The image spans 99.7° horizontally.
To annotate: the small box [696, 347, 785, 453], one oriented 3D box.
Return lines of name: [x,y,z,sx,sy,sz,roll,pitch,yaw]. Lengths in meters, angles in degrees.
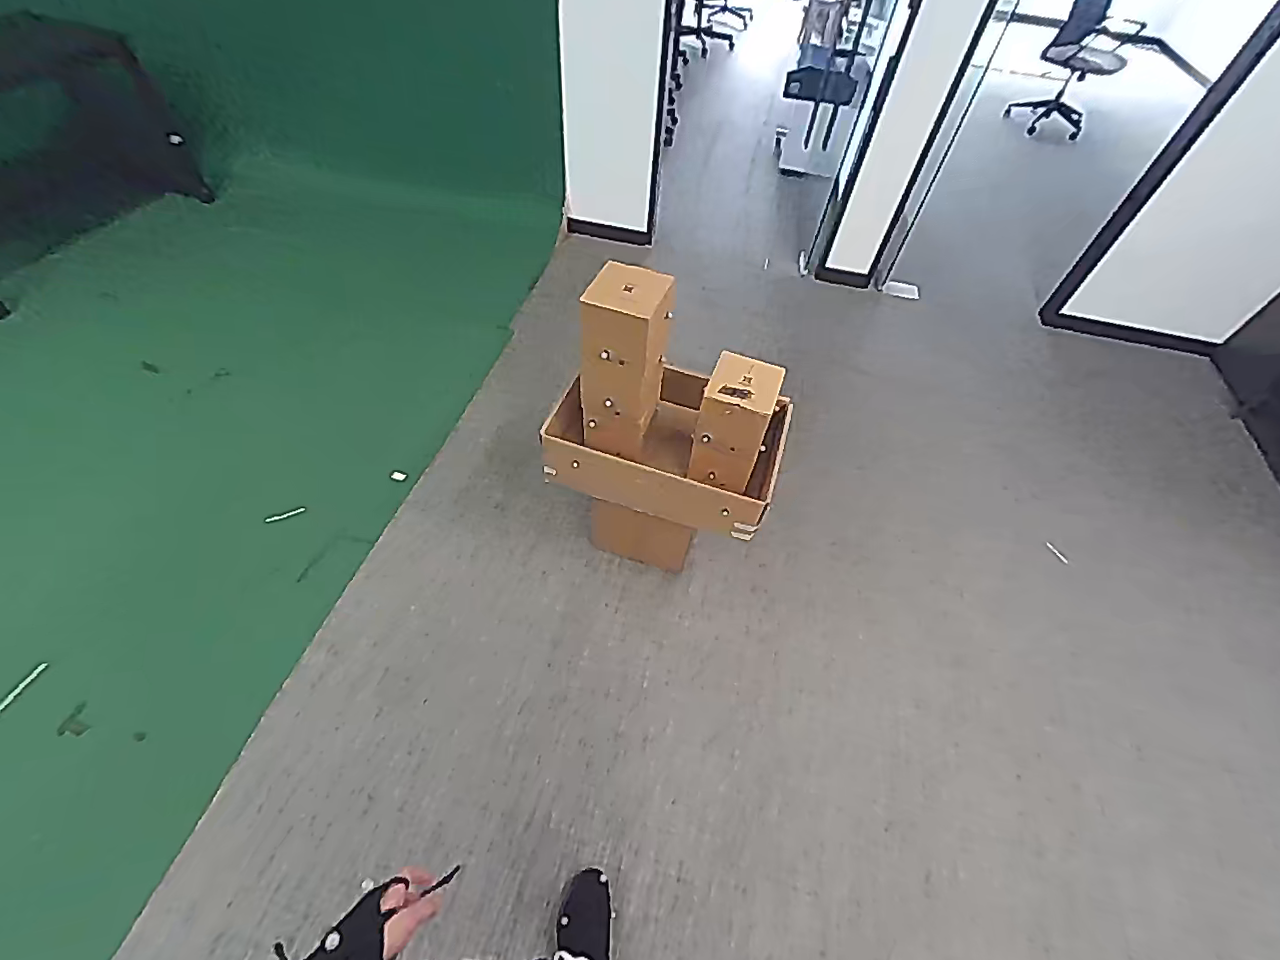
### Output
small box: [0.243,-0.195,1.345,0.168,0.176,0.179,19,55,9]

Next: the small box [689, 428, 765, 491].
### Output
small box: [0.239,-0.102,1.481,0.168,0.176,0.179,17,55,8]

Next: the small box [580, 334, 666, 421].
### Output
small box: [-0.045,-0.283,1.390,0.168,0.176,0.179,18,54,10]

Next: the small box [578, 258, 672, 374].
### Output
small box: [-0.036,-0.380,1.259,0.168,0.176,0.179,18,54,10]
